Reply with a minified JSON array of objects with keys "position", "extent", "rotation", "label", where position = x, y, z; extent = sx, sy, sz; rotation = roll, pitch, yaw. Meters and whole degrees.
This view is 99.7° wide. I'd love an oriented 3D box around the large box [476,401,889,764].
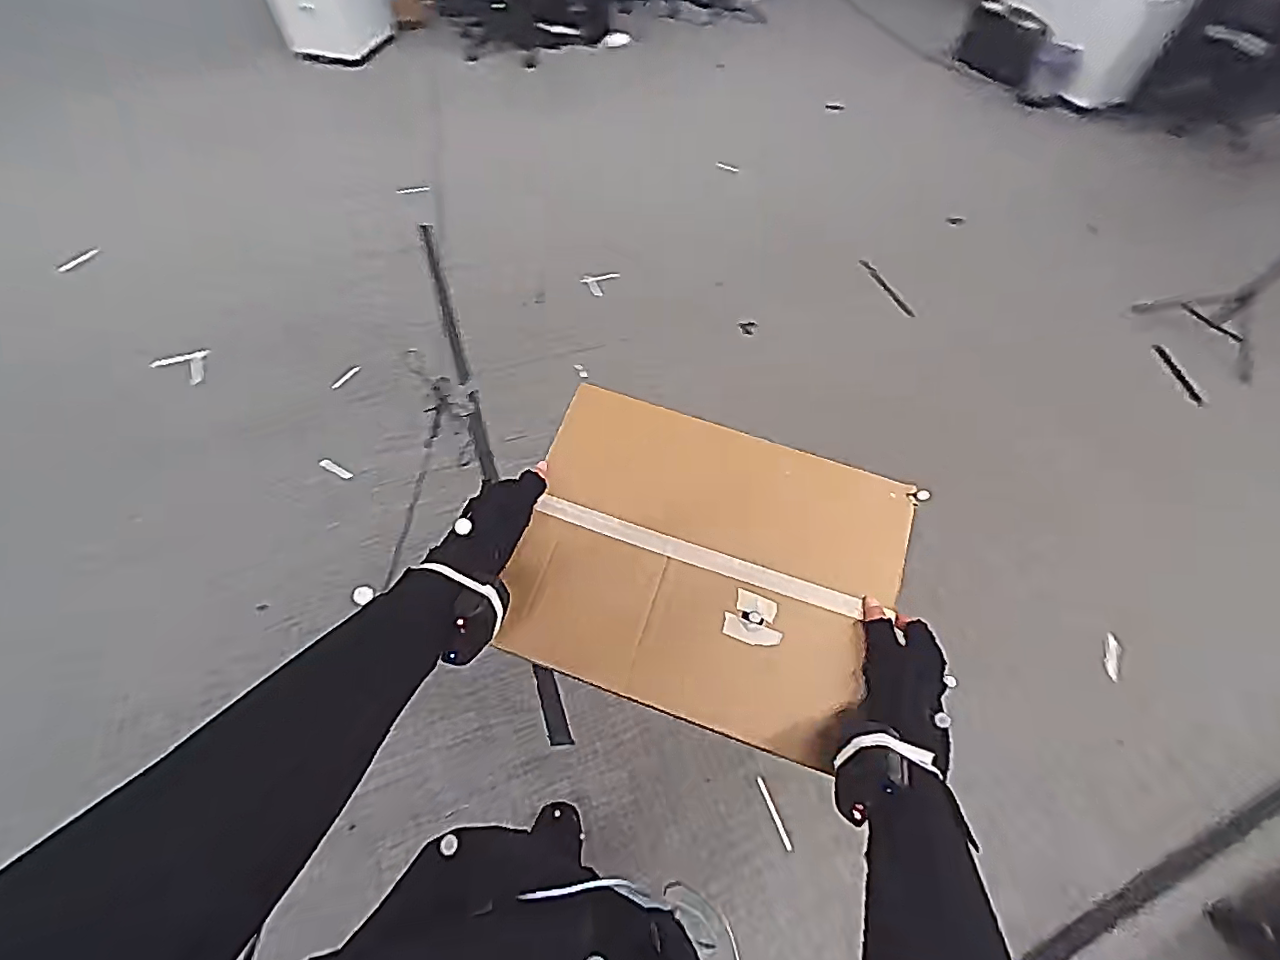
[{"position":[0.054,0.143,0.737],"extent":[0.408,0.320,0.320],"rotation":[17,71,5],"label":"large box"}]
